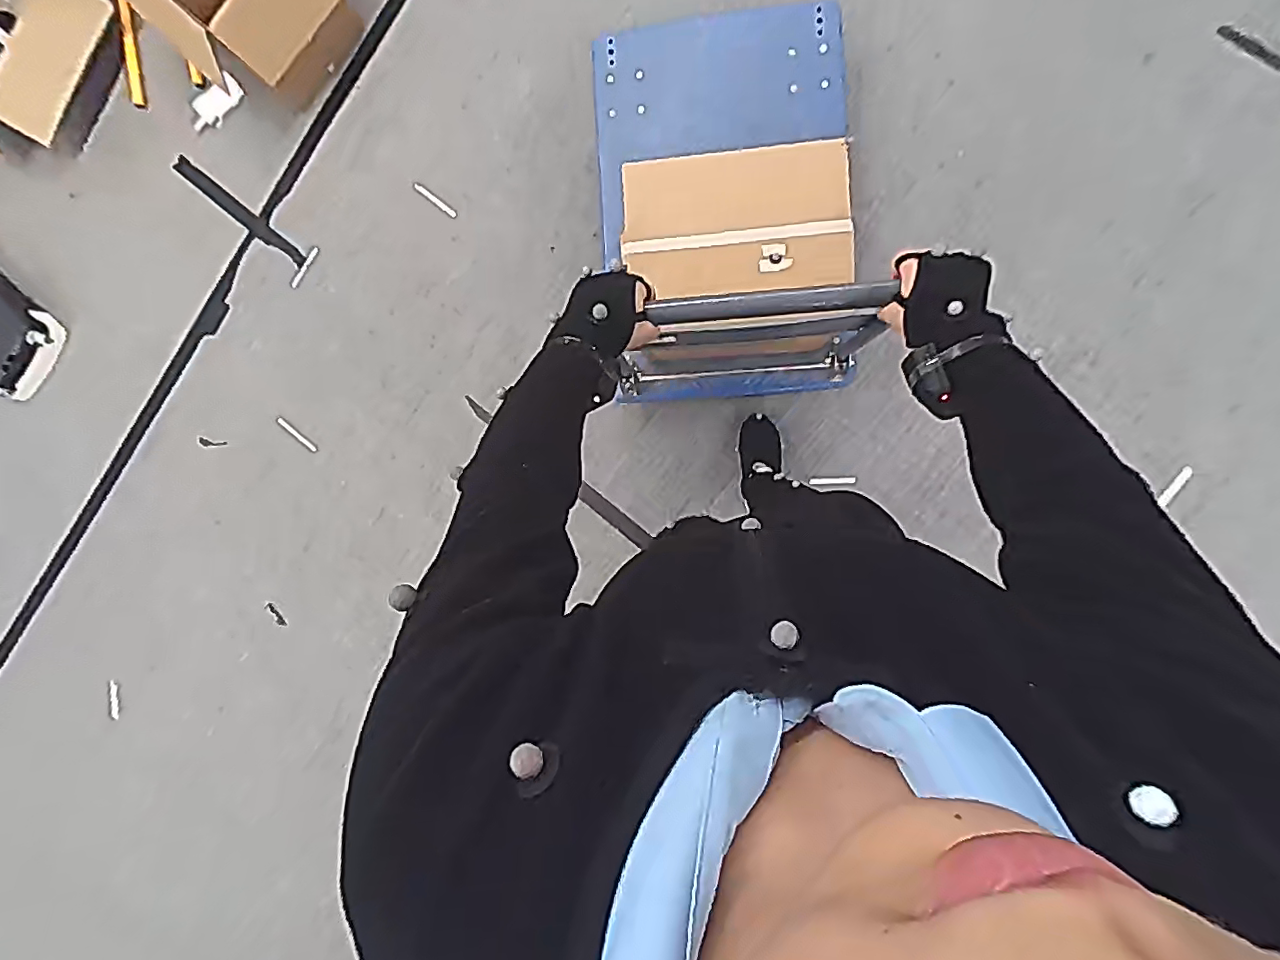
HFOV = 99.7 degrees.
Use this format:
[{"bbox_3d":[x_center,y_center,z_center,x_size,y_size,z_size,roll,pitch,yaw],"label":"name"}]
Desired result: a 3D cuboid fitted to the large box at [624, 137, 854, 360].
[{"bbox_3d":[0.189,-0.449,1.129,0.408,0.320,0.320,-3,92,5],"label":"large box"}]
